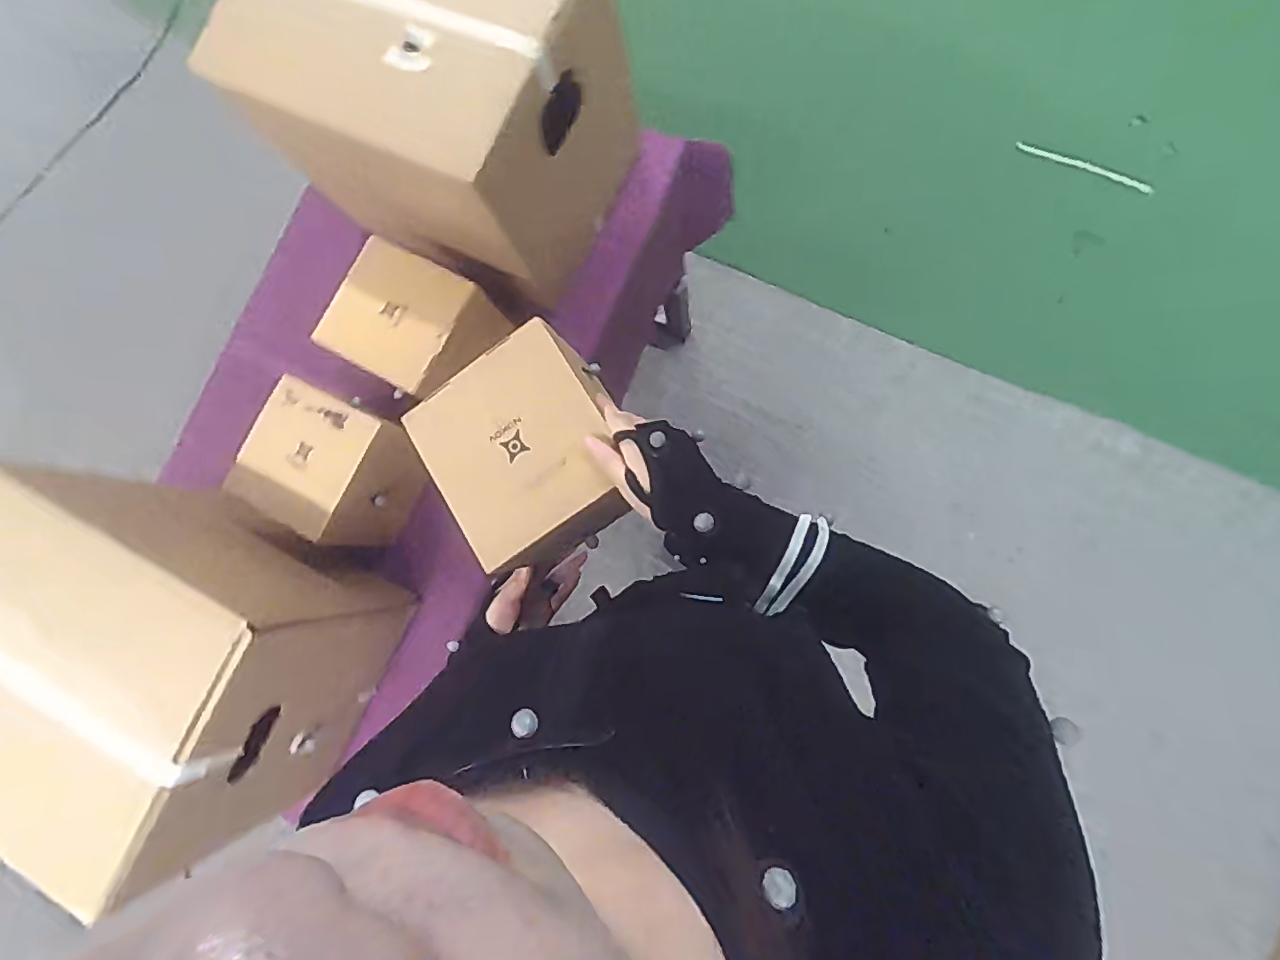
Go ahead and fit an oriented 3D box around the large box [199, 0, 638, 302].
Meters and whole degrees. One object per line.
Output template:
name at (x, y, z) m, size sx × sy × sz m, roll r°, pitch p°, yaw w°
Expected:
large box at (-0.257, -0.515, 0.755) m, size 0.408 × 0.320 × 0.320 m, roll 26°, pitch 86°, yaw 9°
